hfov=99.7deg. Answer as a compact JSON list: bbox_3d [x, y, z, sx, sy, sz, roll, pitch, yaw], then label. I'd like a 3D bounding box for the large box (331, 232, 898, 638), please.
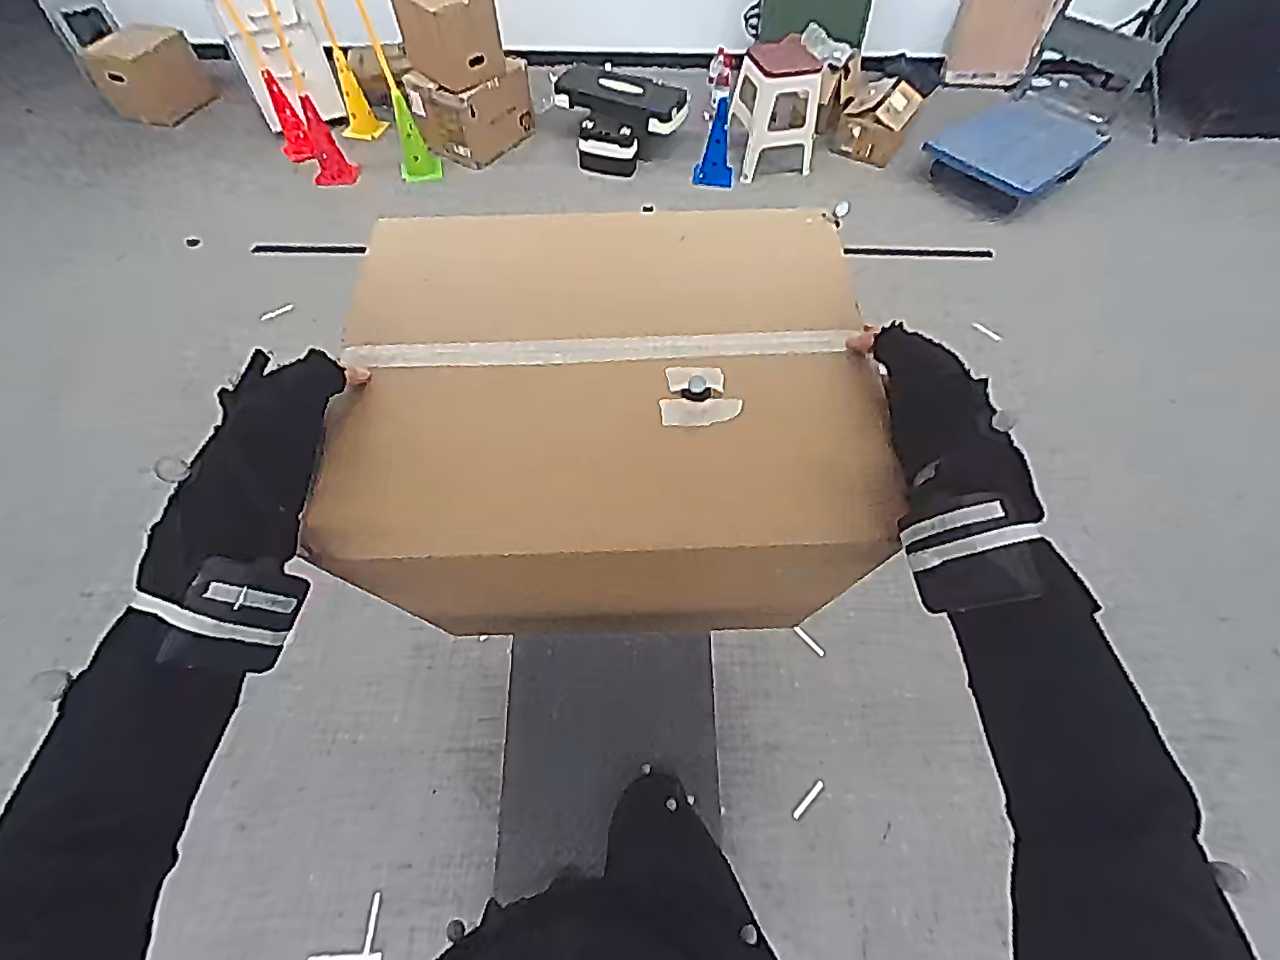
[{"bbox_3d":[-0.023,-0.024,0.571,0.408,0.320,0.320,-1,65,-1],"label":"large box"}]
